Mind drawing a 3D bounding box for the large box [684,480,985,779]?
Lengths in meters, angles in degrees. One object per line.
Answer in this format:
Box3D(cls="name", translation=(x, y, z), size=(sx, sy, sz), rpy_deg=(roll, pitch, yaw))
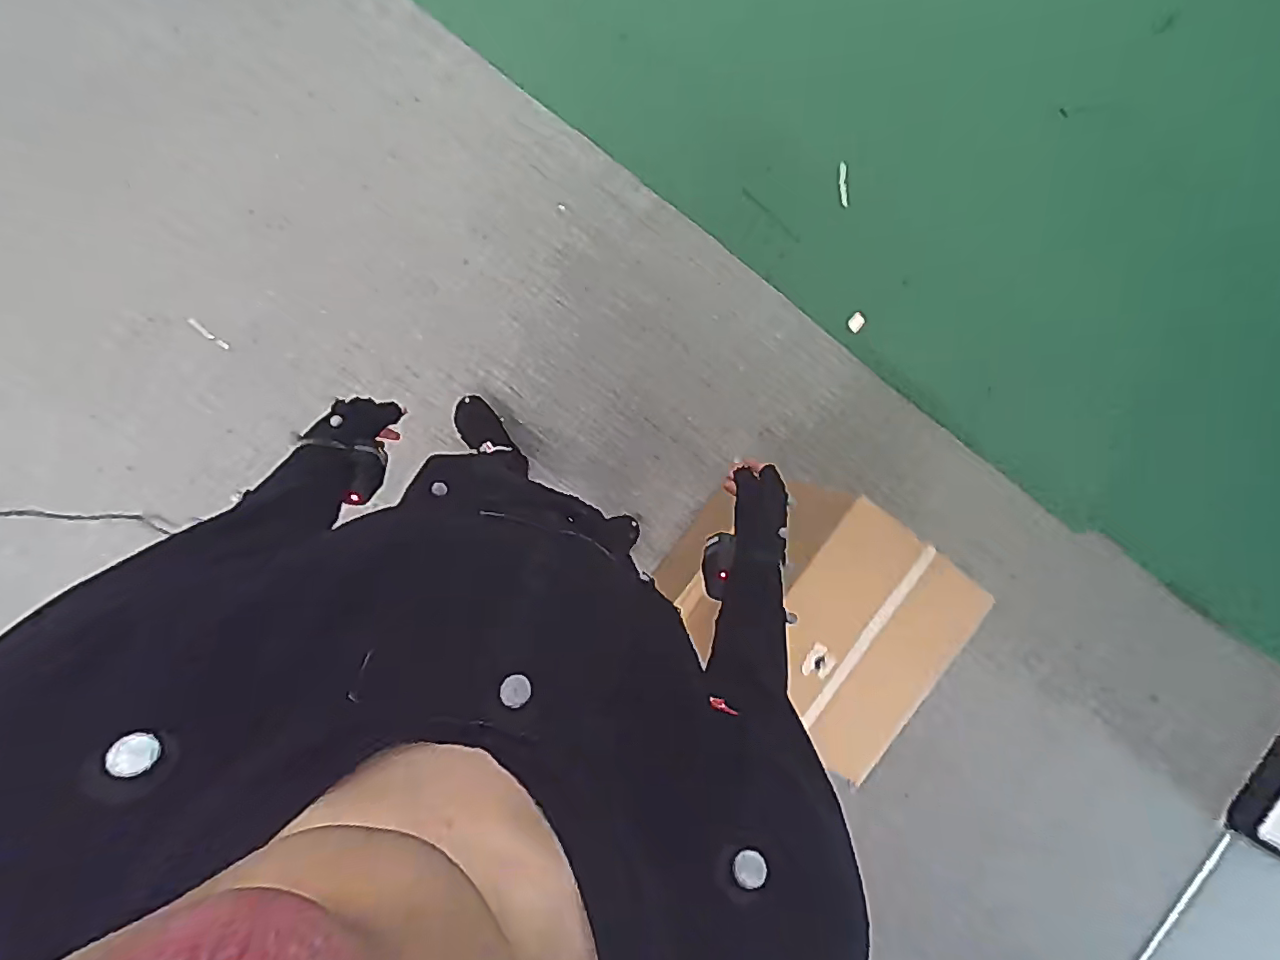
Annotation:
Box3D(cls="large box", translation=(0.347, 0.257, 1.059), size=(0.320, 0.320, 0.408), rpy_deg=(37, 90, -8))
